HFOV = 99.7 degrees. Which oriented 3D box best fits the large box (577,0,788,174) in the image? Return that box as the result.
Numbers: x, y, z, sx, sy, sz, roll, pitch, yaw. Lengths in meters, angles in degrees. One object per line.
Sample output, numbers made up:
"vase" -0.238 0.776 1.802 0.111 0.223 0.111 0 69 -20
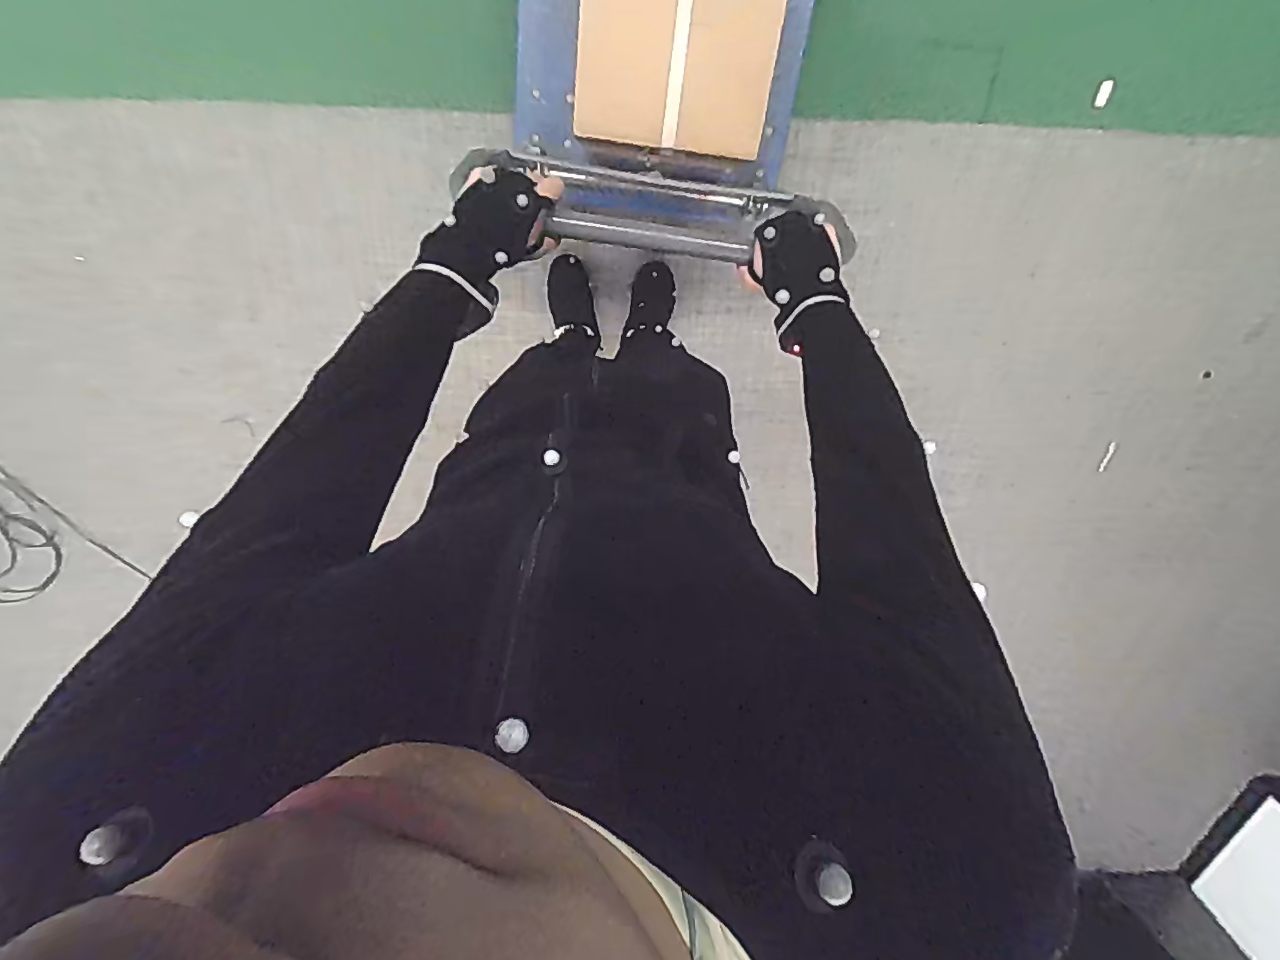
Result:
"large box" 0.069 -0.792 0.955 0.320 0.320 0.408 6 116 -5
